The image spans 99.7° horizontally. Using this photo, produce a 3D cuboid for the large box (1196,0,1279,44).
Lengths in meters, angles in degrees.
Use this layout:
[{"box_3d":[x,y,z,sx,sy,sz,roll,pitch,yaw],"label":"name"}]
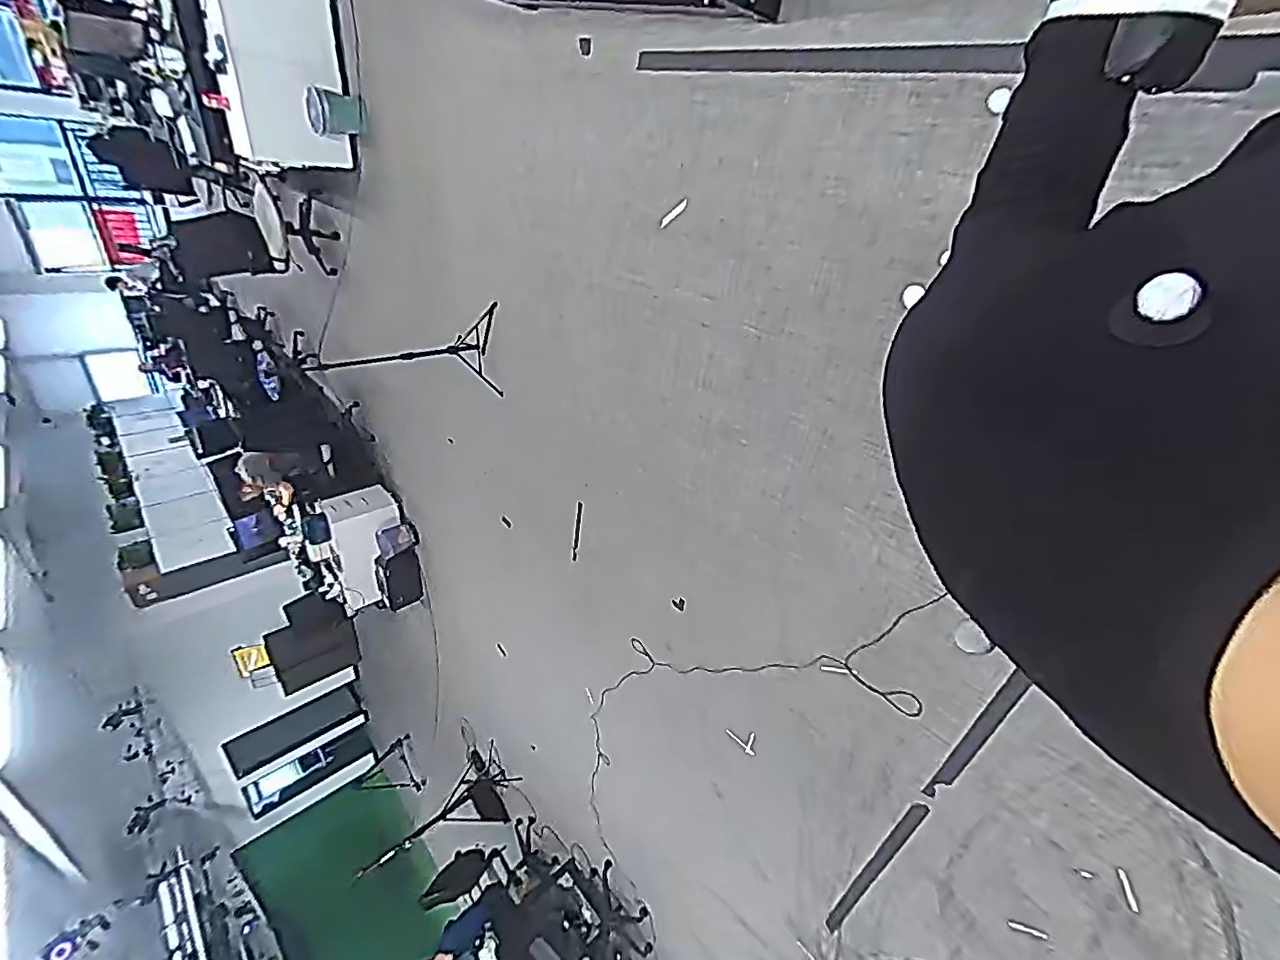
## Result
[{"box_3d":[0.560,-0.418,0.218,0.408,0.320,0.320,24,130,36],"label":"large box"}]
